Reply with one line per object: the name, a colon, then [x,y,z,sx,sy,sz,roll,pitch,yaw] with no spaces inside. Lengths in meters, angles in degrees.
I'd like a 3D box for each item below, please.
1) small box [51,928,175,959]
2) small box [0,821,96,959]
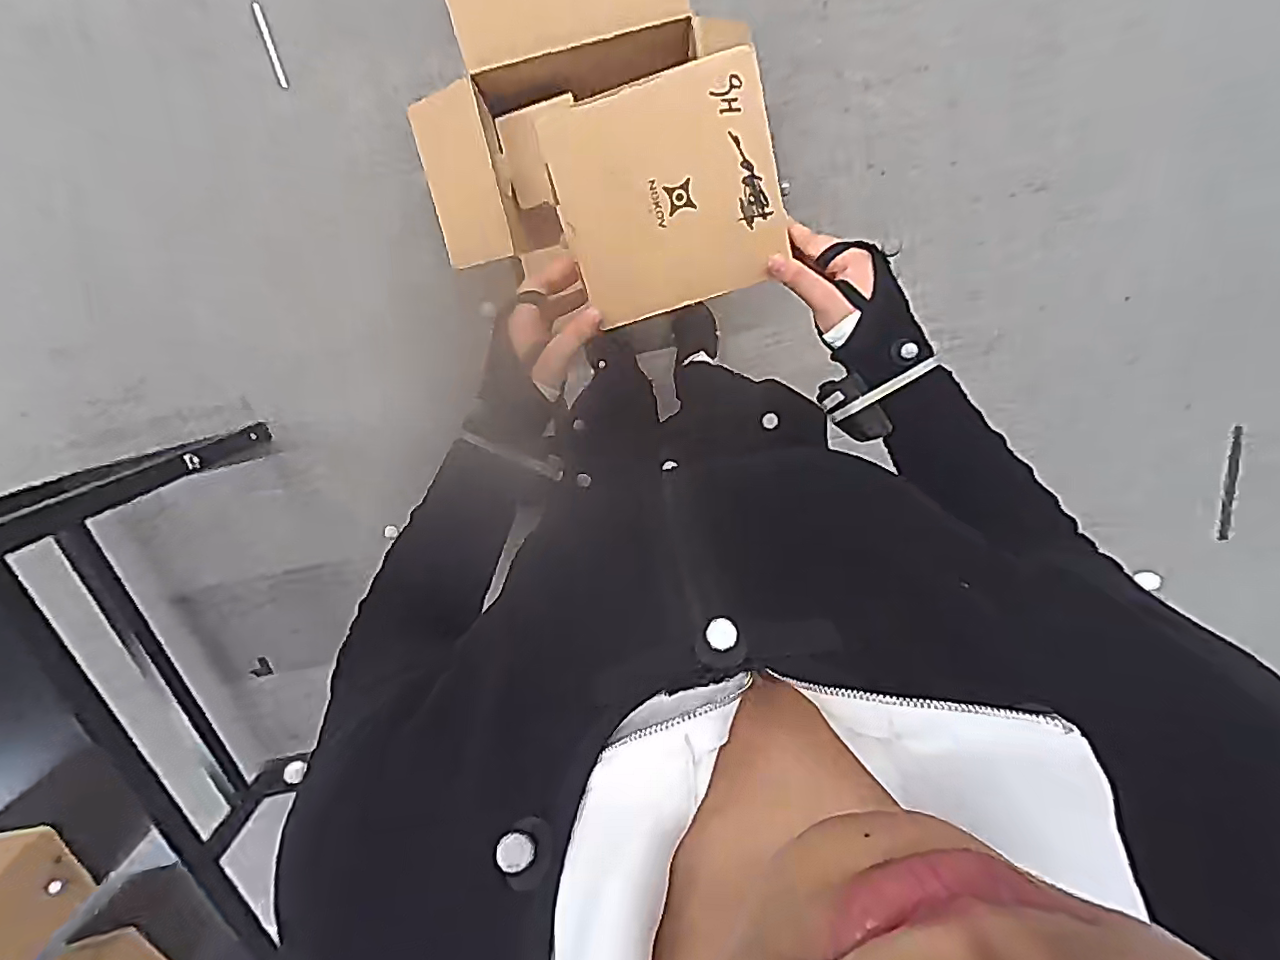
small box: [-1.024,0.978,1.007,0.168,0.176,0.179,-19,110,6]
small box: [-1.106,0.717,0.911,0.179,0.176,0.168,-11,110,3]
